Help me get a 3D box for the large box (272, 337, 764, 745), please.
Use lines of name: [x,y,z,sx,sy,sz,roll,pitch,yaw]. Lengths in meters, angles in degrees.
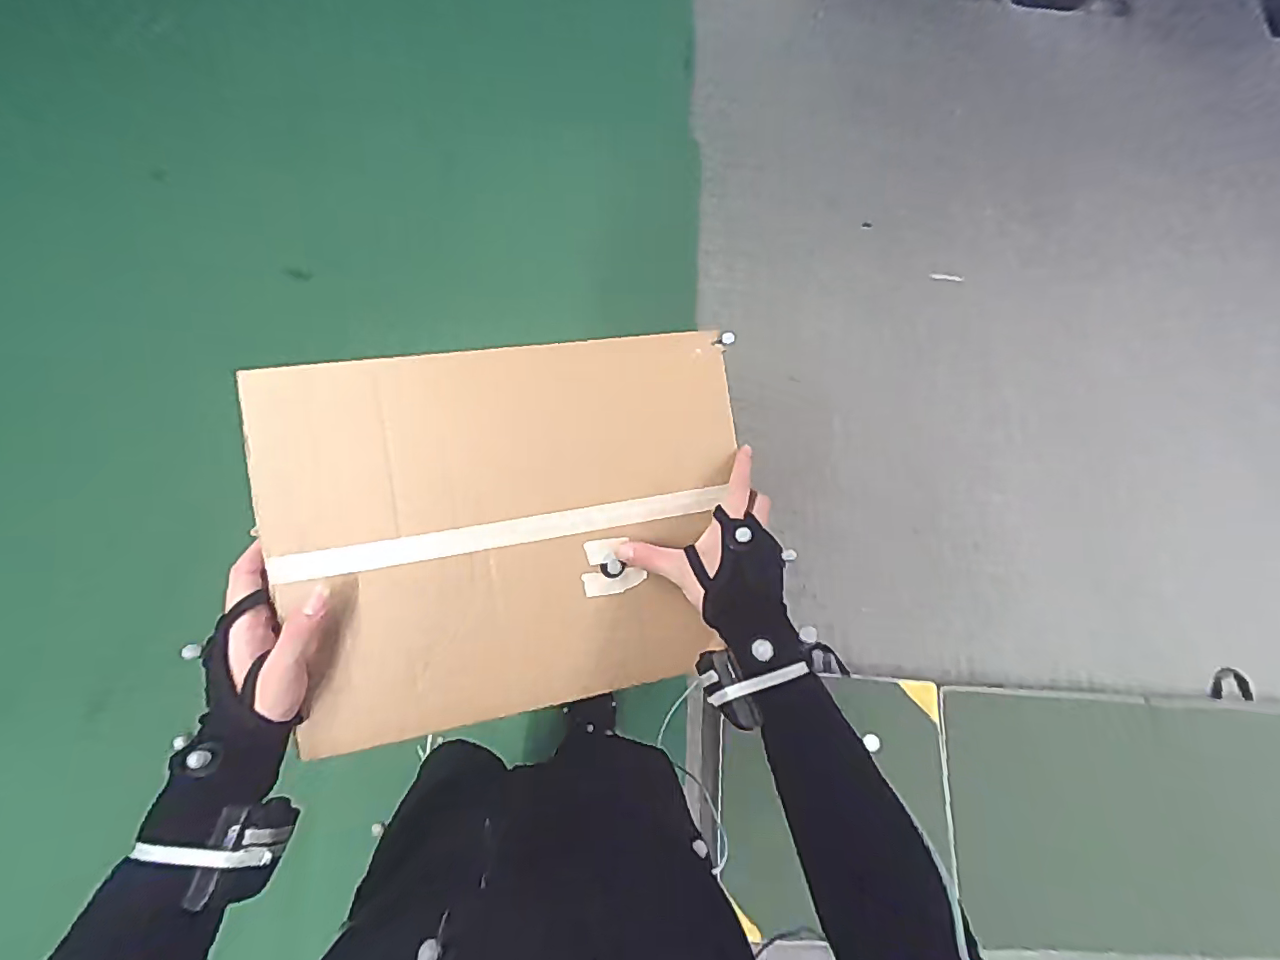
large box: [-0.124,0.044,0.629,0.408,0.320,0.320,-8,91,-13]
